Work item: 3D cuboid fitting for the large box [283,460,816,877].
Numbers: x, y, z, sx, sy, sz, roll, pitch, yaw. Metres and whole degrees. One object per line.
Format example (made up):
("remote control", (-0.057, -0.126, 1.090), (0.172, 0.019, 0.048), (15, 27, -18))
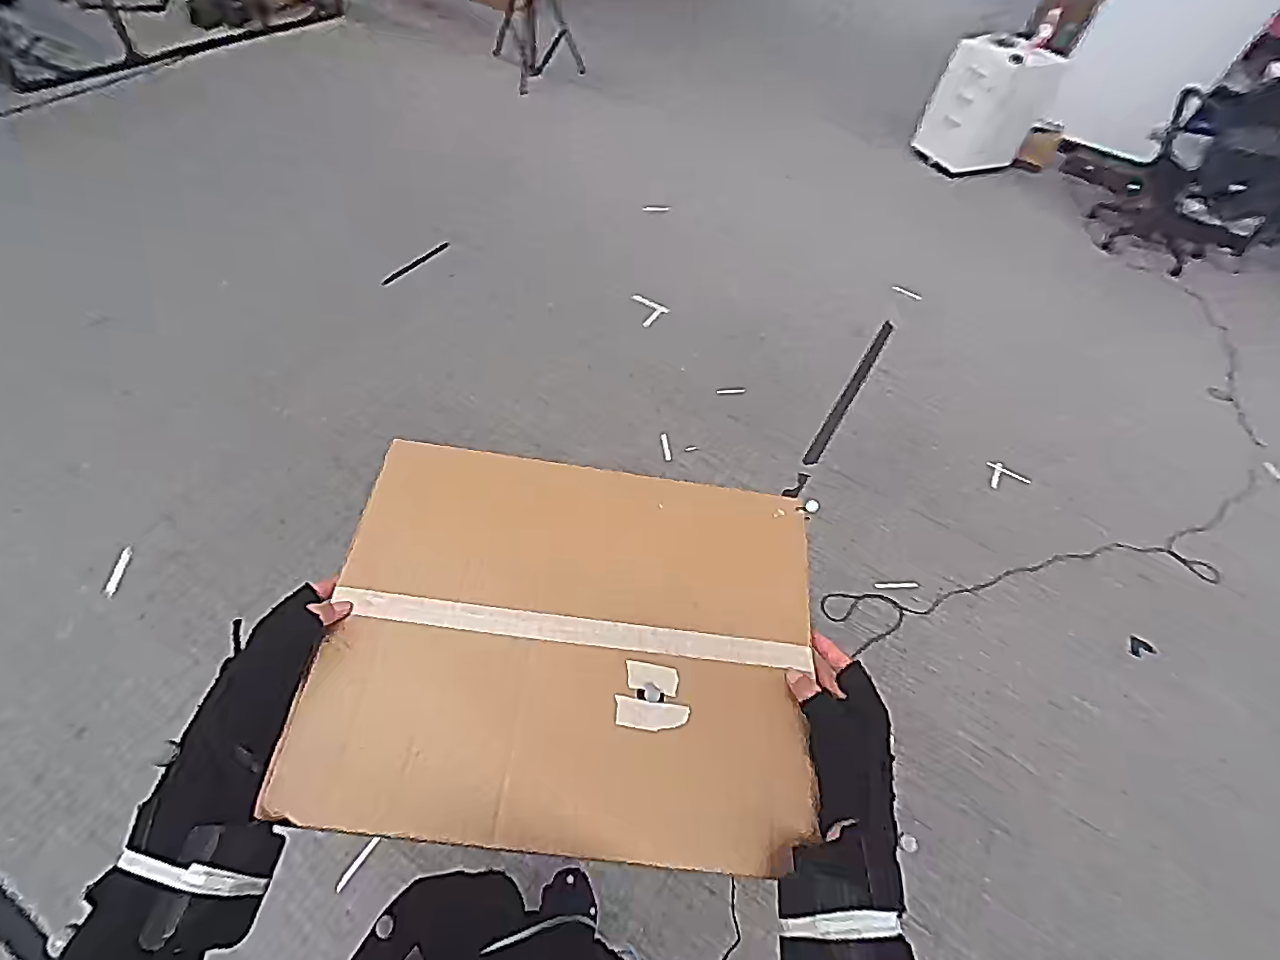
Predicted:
("large box", (-0.066, 0.208, 0.598), (0.408, 0.320, 0.320), (9, 62, -3))
